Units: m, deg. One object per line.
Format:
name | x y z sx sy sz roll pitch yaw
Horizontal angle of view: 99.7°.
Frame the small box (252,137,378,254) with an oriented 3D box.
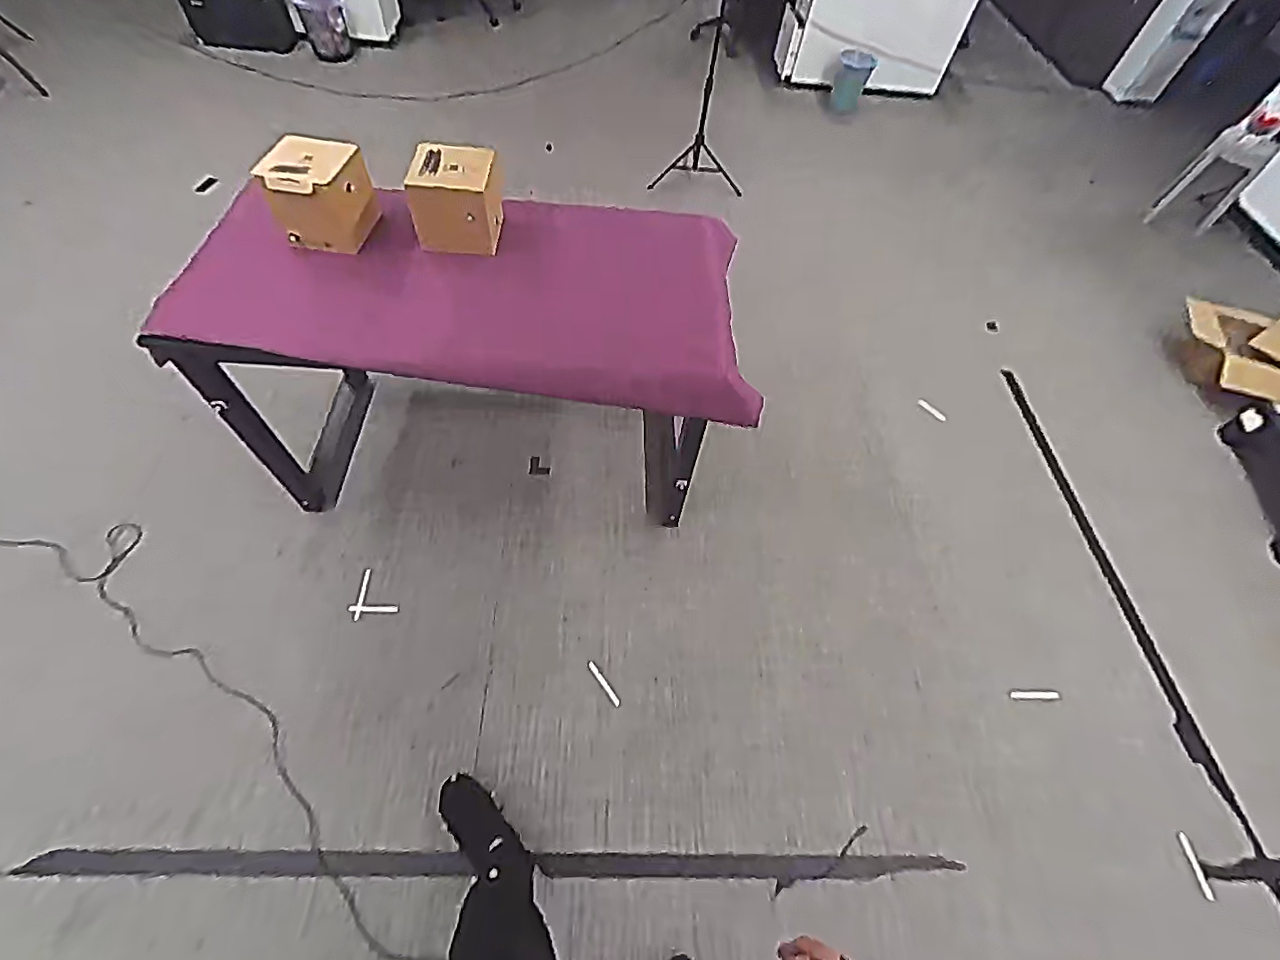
small box | -0.733 -0.650 1.246 0.168 0.176 0.179 8 57 -1
